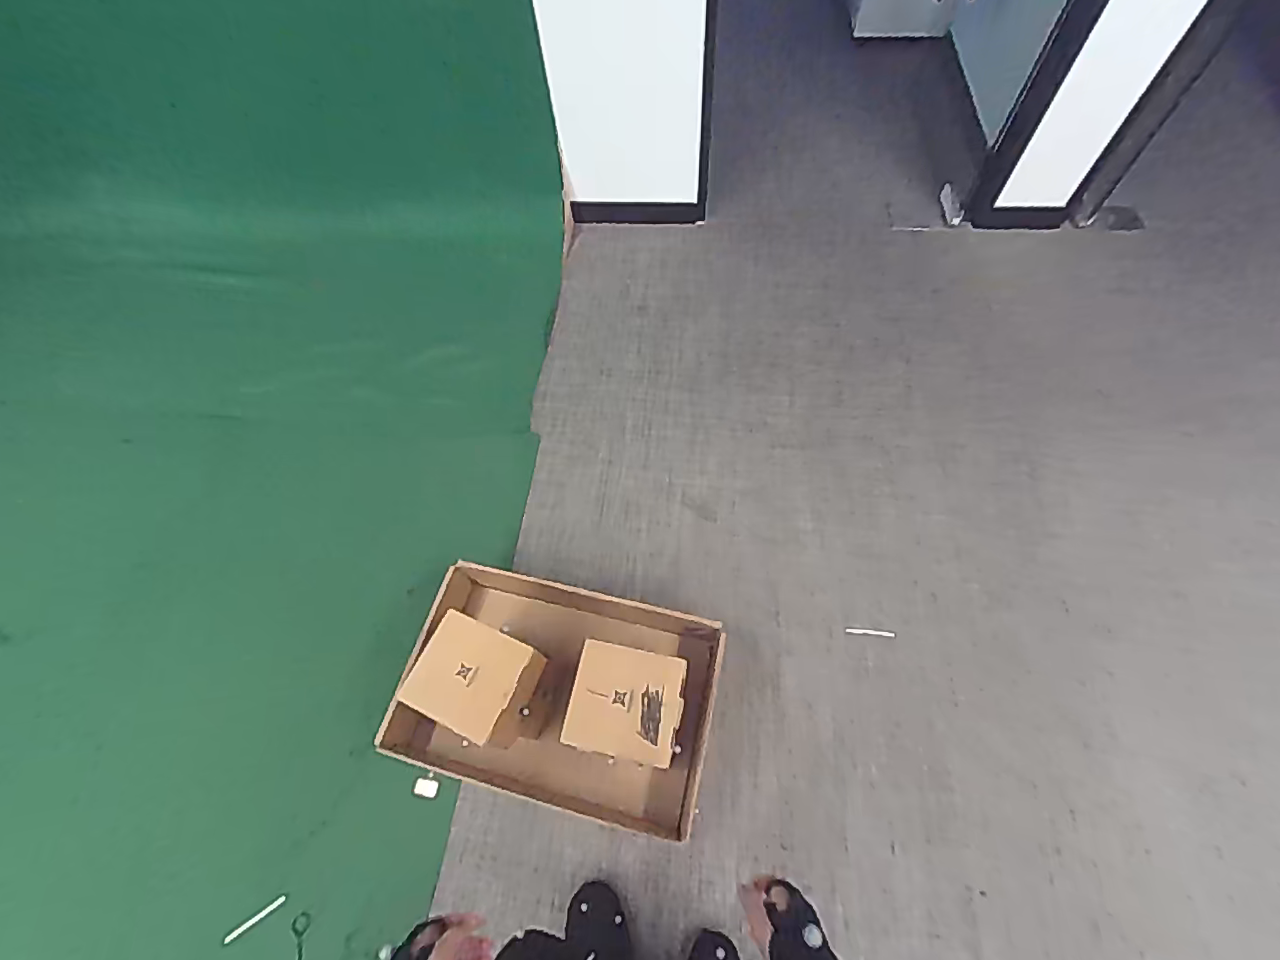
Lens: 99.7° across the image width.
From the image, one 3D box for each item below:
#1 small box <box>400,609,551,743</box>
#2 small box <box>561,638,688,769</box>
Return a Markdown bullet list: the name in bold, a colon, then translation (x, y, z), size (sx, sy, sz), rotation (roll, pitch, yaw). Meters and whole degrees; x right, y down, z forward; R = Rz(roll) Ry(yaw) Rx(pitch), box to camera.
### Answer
- **small box**: translation (-0.283, 0.359, 0.973), size (0.179, 0.176, 0.168), rotation (22, 65, 12)
- **small box**: translation (-0.016, 0.388, 0.937), size (0.179, 0.176, 0.168), rotation (9, 64, 10)
